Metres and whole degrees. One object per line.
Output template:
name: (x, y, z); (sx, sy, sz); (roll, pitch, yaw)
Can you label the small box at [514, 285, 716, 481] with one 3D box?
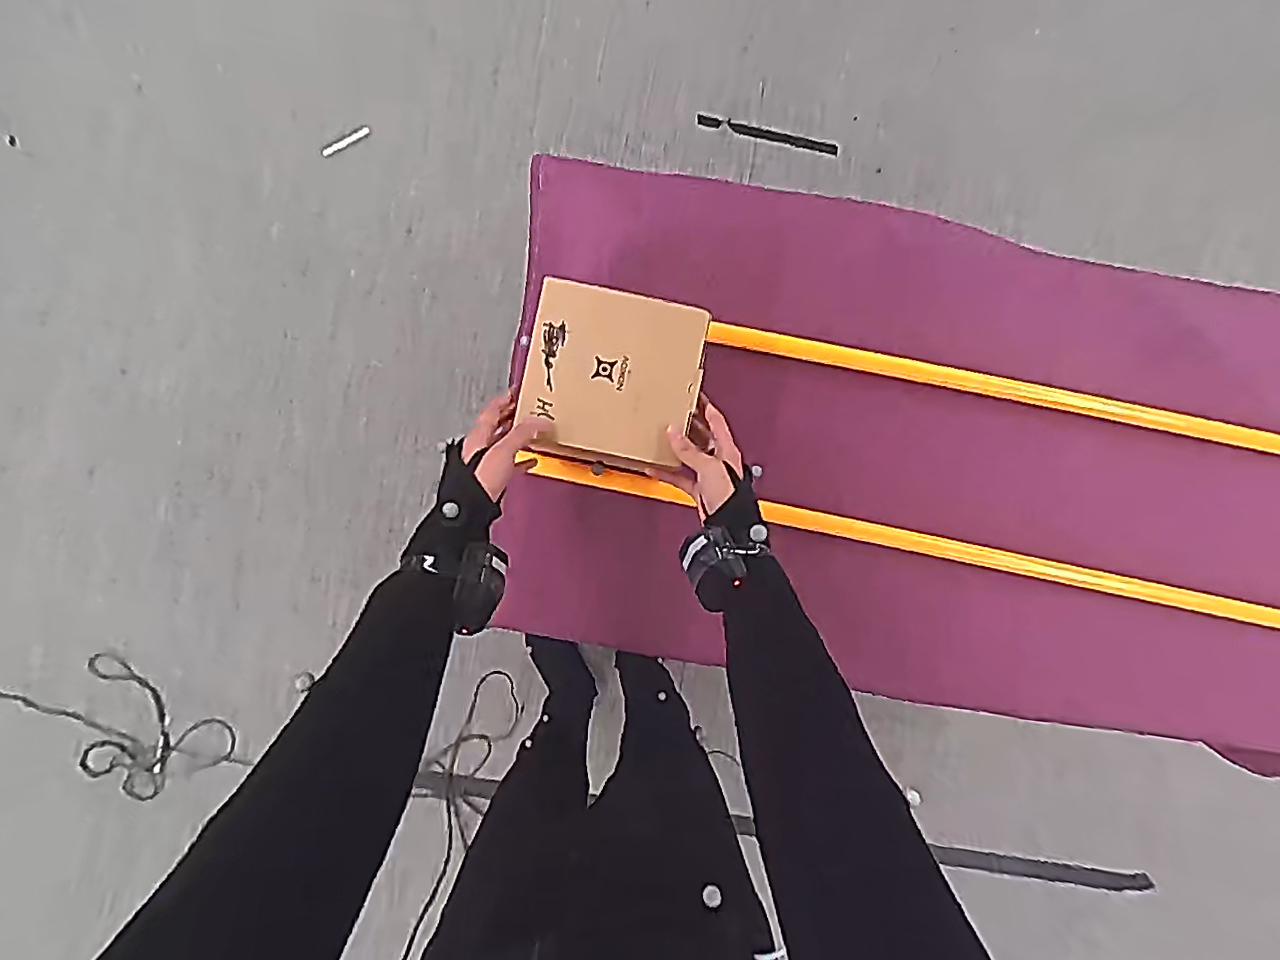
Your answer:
small box: (-0.028, -0.096, 0.621); (0.179, 0.176, 0.168); (12, 87, -3)
